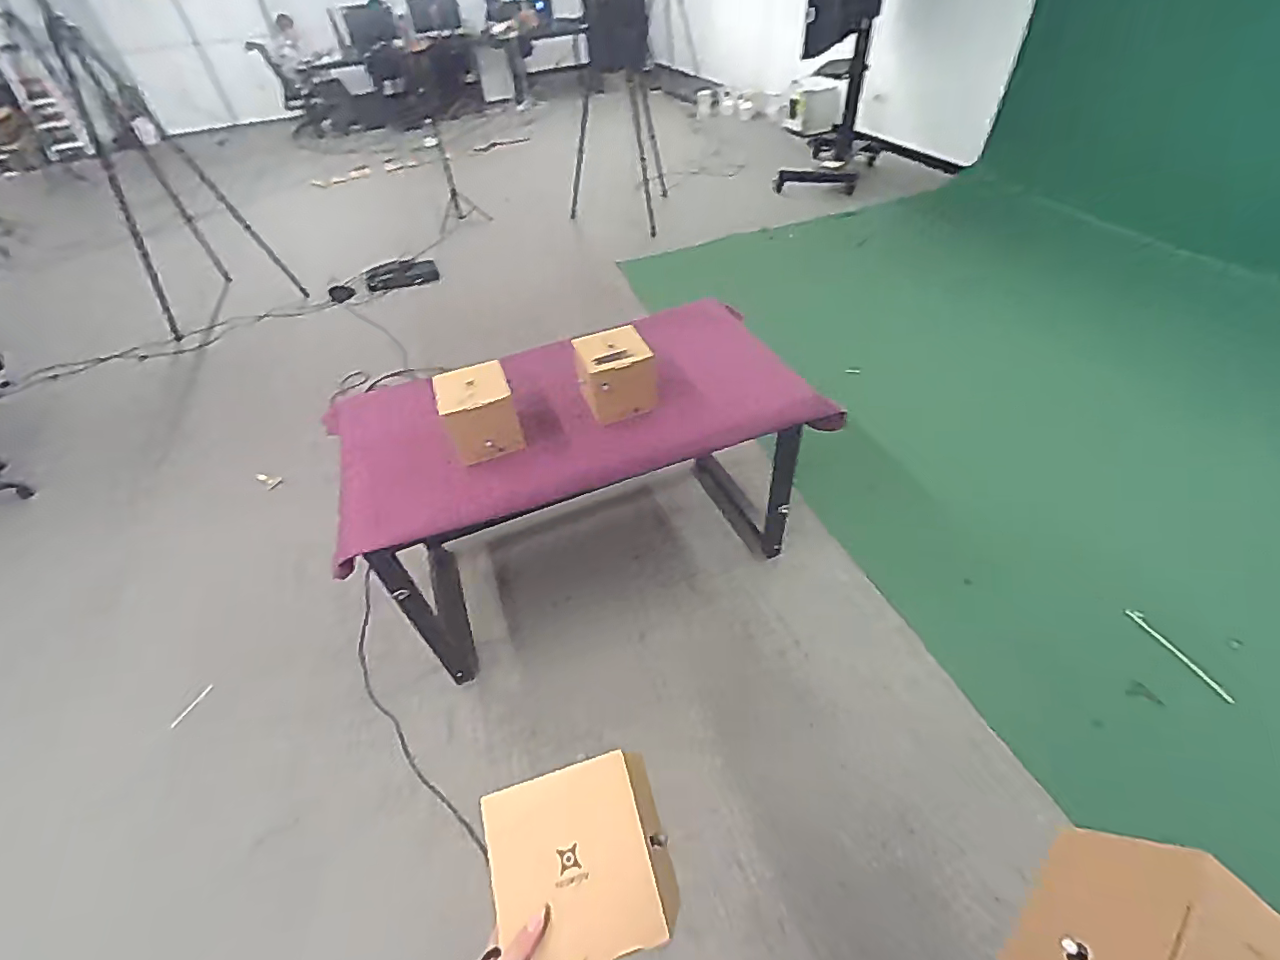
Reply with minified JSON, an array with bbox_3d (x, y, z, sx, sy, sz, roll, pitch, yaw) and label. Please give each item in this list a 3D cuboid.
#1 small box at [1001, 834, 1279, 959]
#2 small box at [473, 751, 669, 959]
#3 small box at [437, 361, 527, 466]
[{"bbox_3d":[0.483,0.472,0.499,0.168,0.176,0.179,44,66,13],"label":"small box"},{"bbox_3d":[-0.071,0.428,0.612,0.168,0.176,0.179,-18,62,-3],"label":"small box"},{"bbox_3d":[-0.391,-0.165,1.344,0.168,0.176,0.179,-17,47,-11],"label":"small box"}]
